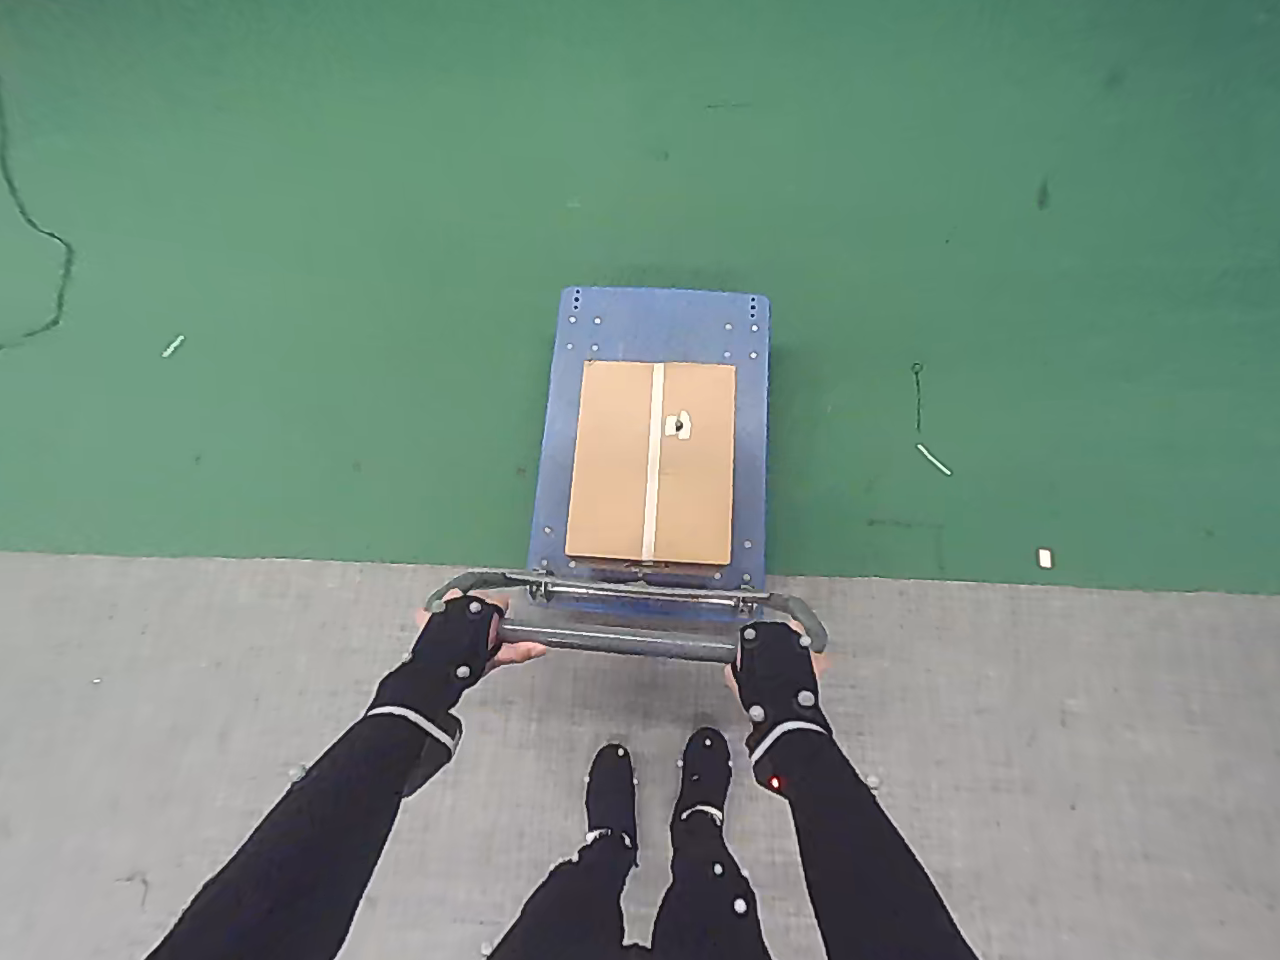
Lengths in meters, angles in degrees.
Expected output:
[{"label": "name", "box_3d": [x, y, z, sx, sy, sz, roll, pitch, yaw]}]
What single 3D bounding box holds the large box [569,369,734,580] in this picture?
[{"label": "large box", "box_3d": [0.036, 0.006, 1.206, 0.320, 0.320, 0.408, 3, 75, 3]}]
